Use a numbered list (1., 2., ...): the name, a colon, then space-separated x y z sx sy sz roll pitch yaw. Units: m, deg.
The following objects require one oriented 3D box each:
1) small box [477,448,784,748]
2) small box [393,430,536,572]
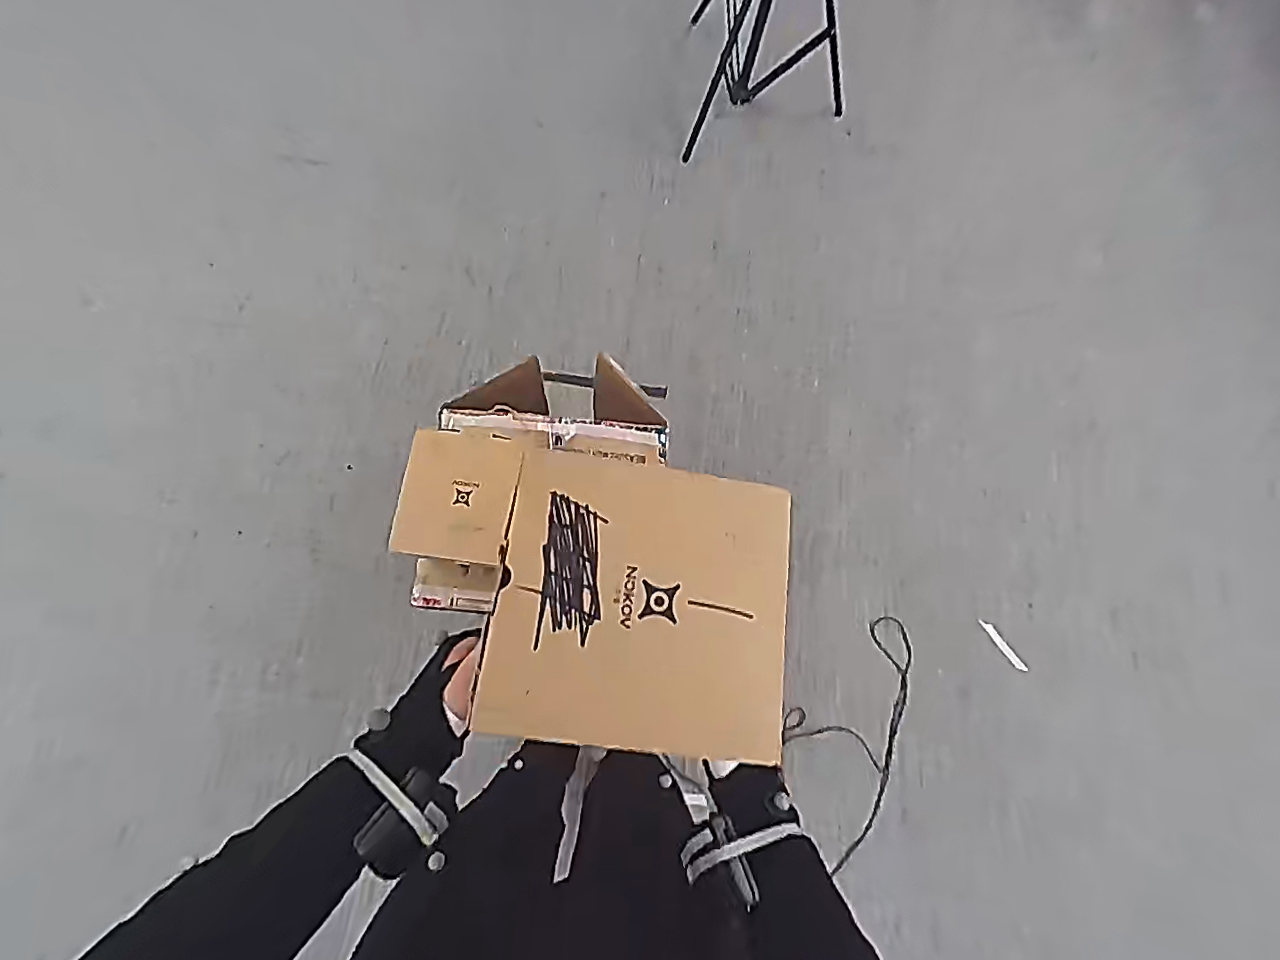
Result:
1. small box: -0.008 0.092 0.409 0.179 0.176 0.168 9 72 -6
2. small box: -0.239 0.041 0.807 0.168 0.176 0.179 7 79 -2
